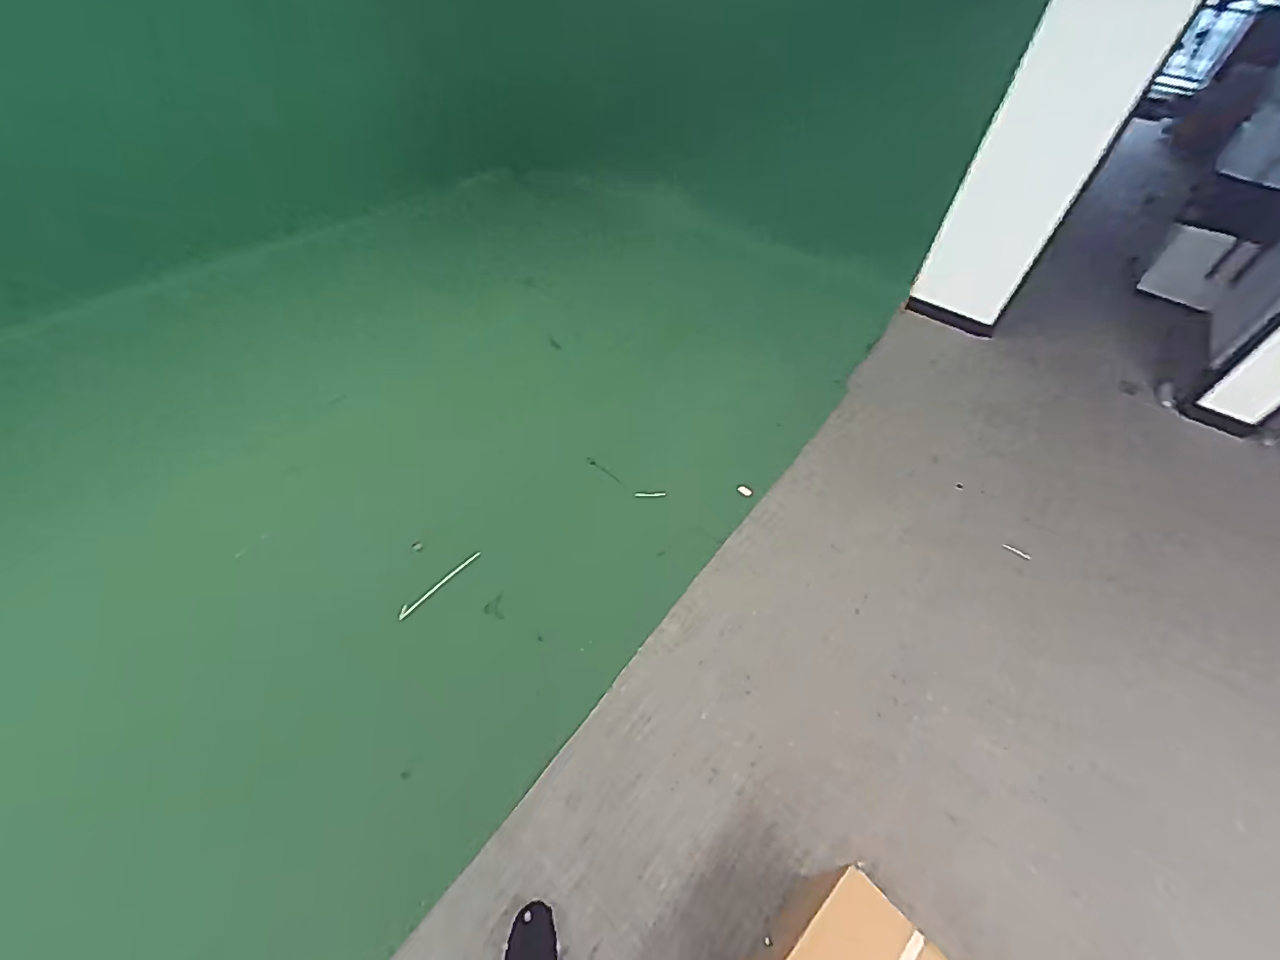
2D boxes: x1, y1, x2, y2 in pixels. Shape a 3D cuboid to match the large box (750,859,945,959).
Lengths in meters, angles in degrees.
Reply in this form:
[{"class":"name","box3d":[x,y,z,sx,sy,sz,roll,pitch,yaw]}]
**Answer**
[{"class":"large box","box3d":[0.382,1.069,1.069,0.408,0.320,0.320,-33,59,-30]}]
